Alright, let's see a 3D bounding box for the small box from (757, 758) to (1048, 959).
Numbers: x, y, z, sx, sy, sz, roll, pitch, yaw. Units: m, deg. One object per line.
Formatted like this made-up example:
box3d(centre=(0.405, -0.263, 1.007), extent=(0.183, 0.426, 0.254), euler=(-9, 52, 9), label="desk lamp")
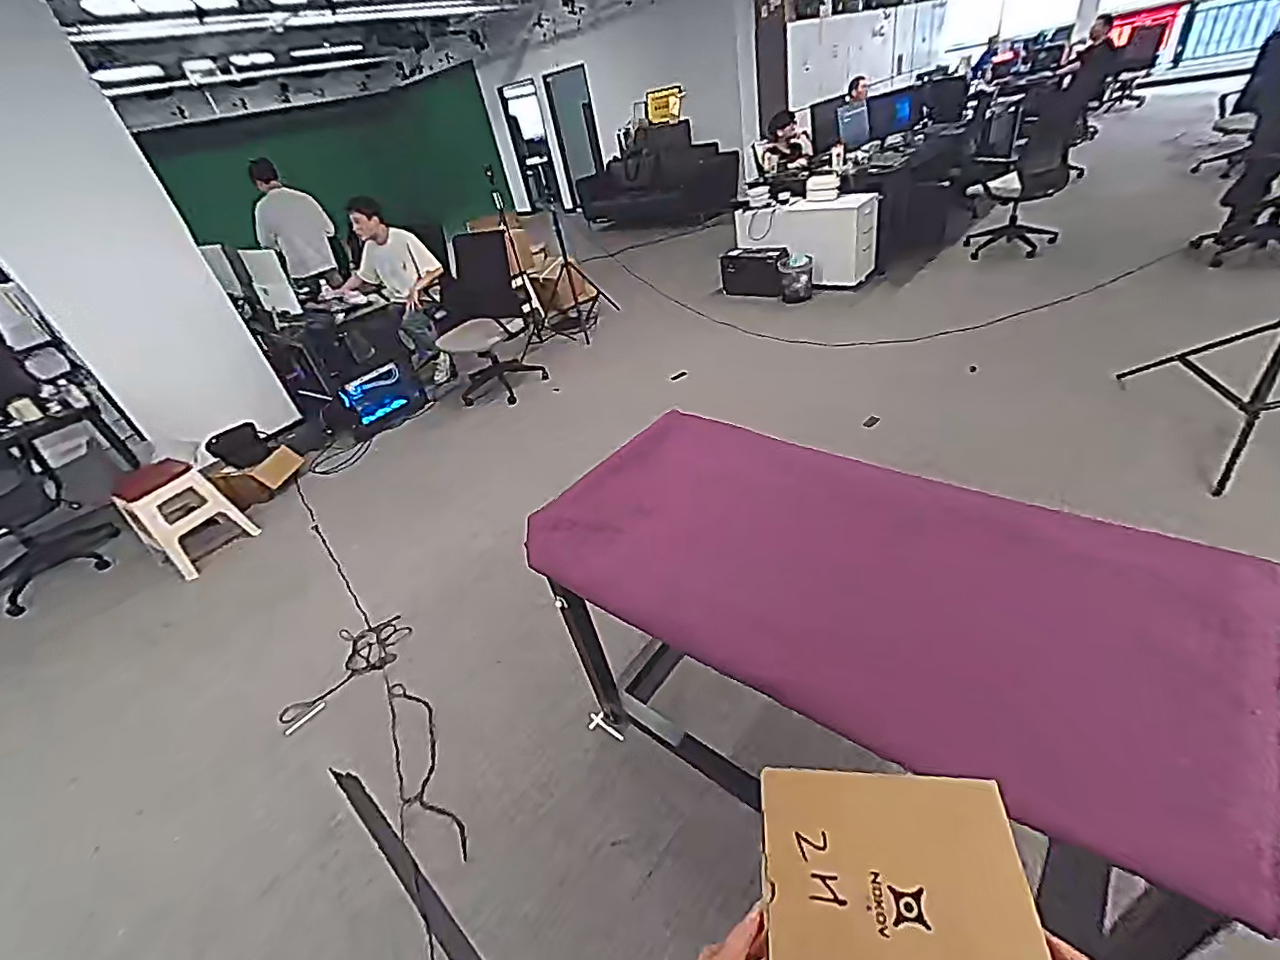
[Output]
box3d(centre=(0.185, 0.339, 0.423), extent=(0.179, 0.176, 0.168), euler=(-4, 43, 13), label="small box")
